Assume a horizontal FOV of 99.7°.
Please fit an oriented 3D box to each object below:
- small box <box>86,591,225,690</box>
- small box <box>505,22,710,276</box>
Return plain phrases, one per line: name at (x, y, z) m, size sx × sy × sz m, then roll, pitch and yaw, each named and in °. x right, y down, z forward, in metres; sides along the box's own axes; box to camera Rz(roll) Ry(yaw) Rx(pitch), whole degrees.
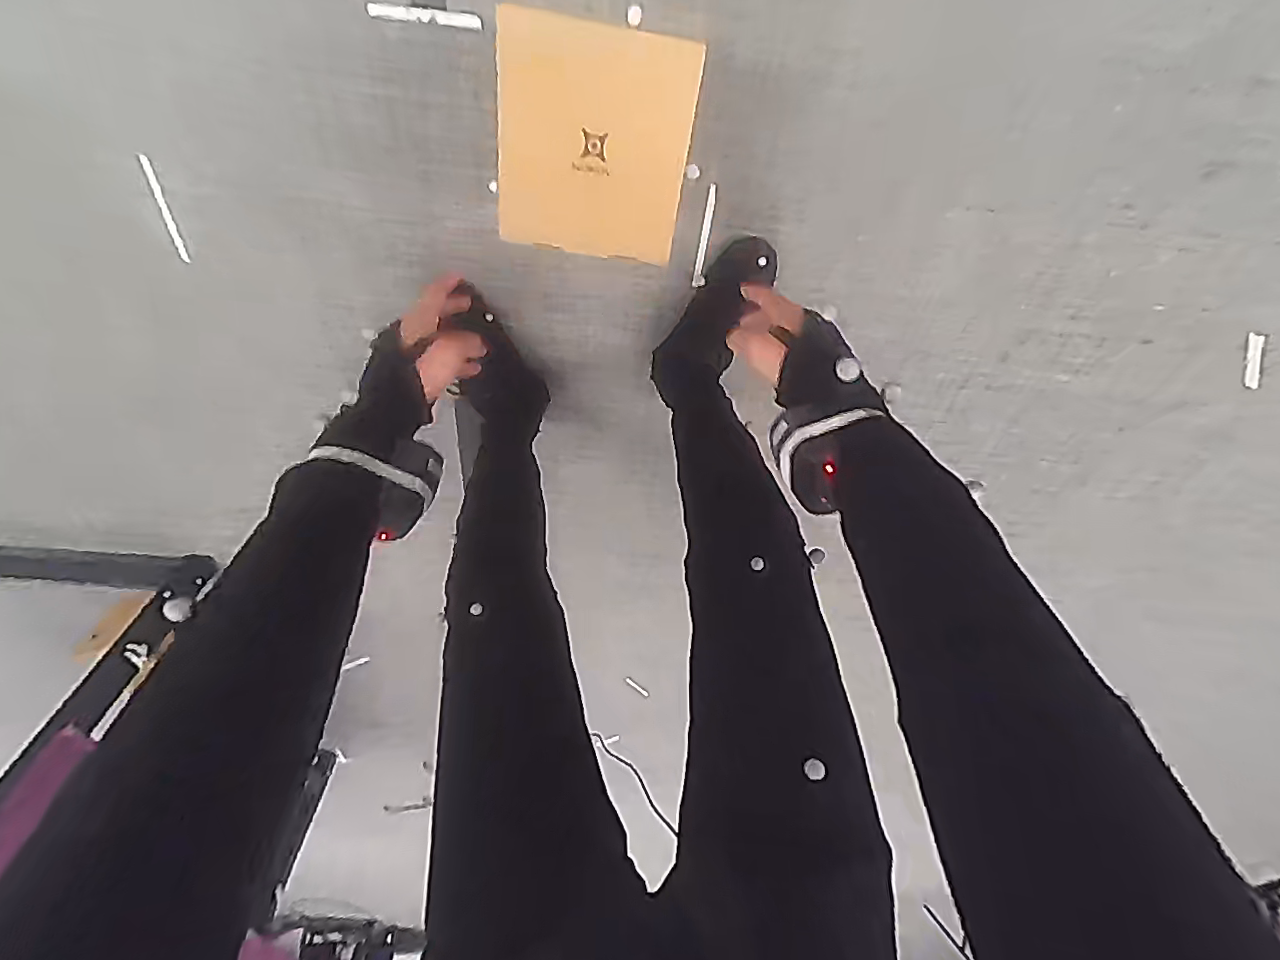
small box at (-1.238, 0.415, 1.400) m, size 0.179 × 0.176 × 0.168 m, roll -17°, pitch 128°, yaw 16°
small box at (-0.038, -0.328, 0.535) m, size 0.168 × 0.176 × 0.179 m, roll 6°, pitch 131°, yaw -5°
